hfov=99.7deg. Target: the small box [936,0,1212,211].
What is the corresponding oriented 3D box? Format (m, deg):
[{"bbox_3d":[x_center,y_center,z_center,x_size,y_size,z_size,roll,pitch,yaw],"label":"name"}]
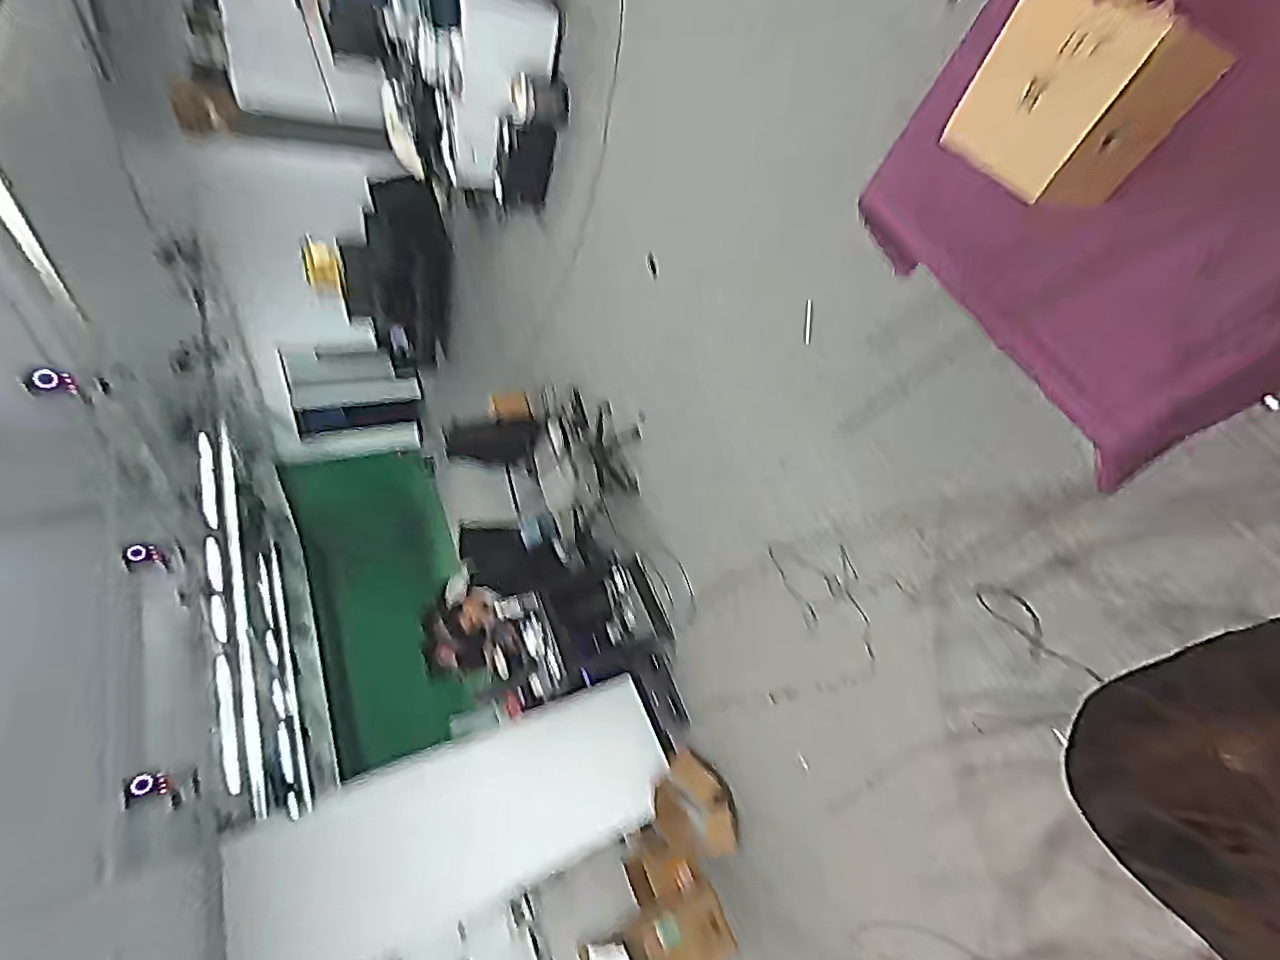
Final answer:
[{"bbox_3d":[0.522,-0.455,0.663,0.168,0.176,0.179,60,146,27],"label":"small box"}]
